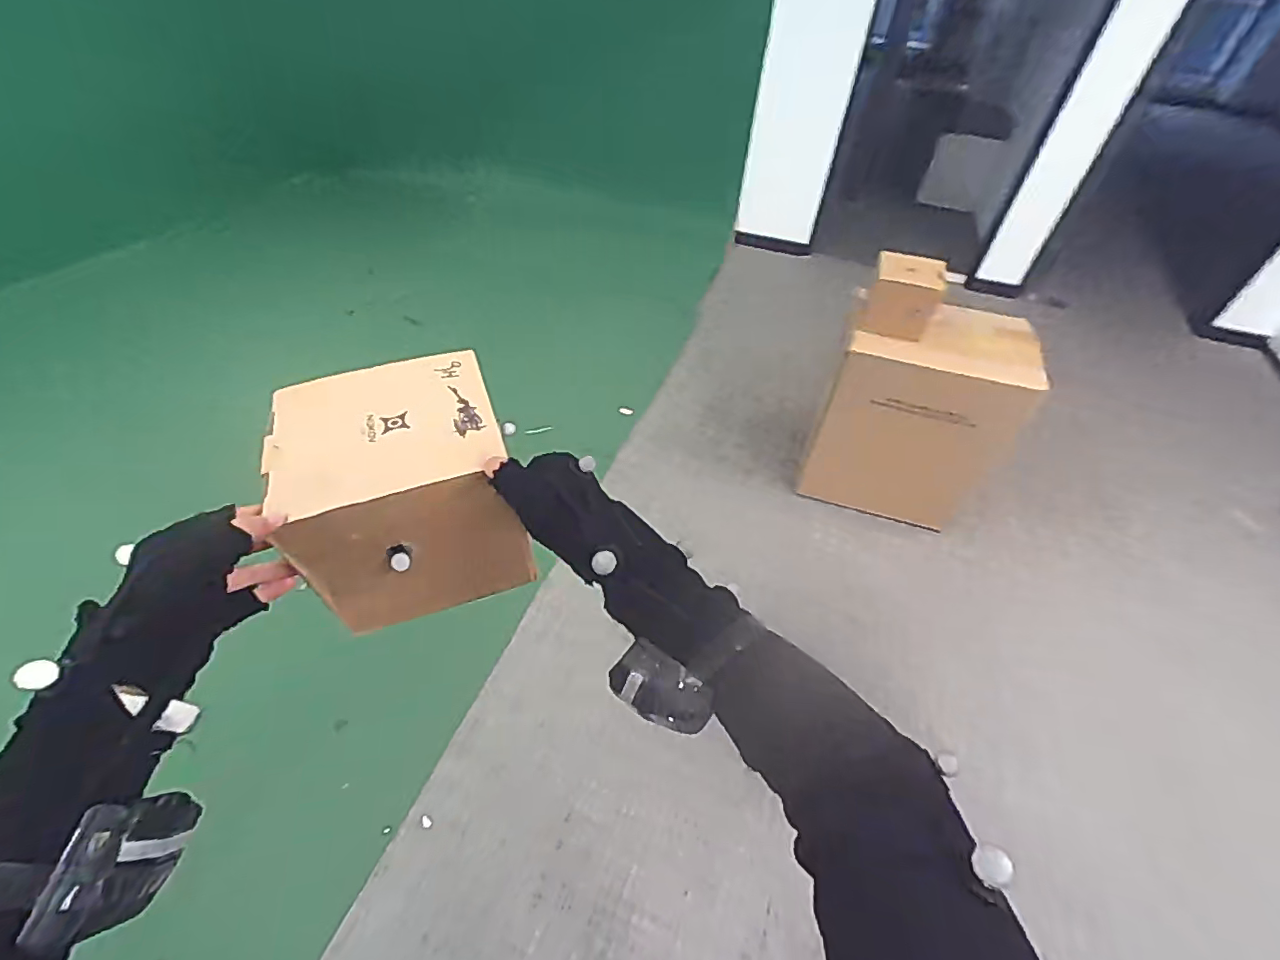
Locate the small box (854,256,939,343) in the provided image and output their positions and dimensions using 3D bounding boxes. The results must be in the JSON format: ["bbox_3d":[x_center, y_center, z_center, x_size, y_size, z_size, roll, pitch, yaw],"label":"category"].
[{"bbox_3d":[0.749,-0.524,1.585,0.179,0.176,0.168,14,51,10],"label":"small box"}]

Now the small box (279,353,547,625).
[{"bbox_3d":[-0.199,0.010,0.508,0.179,0.176,0.168,-15,49,-14],"label":"small box"}]
